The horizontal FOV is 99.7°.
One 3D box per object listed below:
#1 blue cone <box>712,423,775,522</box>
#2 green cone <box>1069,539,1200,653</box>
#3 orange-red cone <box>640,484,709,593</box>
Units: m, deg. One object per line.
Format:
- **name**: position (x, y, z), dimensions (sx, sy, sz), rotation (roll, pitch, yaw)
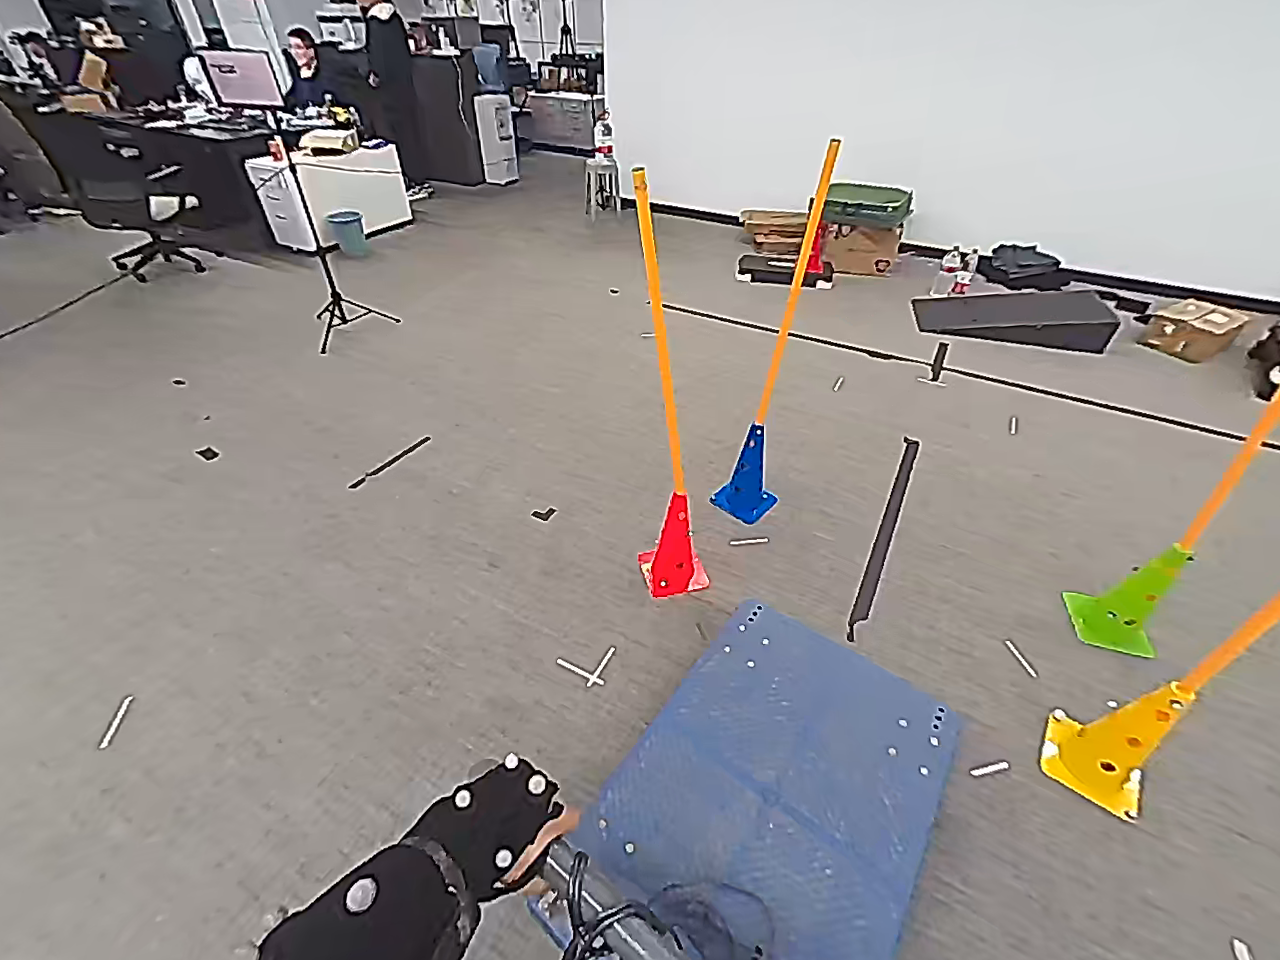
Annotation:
- **blue cone**: position (0.401, -0.051, 1.958), dimensions (0.193, 0.380, 0.192), rotation (33, 50, 31)
- **green cone**: position (1.452, 0.301, 1.550), dimensions (0.200, 0.368, 0.202), rotation (11, 43, 11)
- **orange-red cone**: position (0.119, 0.156, 1.685), dimensions (0.199, 0.360, 0.198), rotation (-8, 42, -13)
